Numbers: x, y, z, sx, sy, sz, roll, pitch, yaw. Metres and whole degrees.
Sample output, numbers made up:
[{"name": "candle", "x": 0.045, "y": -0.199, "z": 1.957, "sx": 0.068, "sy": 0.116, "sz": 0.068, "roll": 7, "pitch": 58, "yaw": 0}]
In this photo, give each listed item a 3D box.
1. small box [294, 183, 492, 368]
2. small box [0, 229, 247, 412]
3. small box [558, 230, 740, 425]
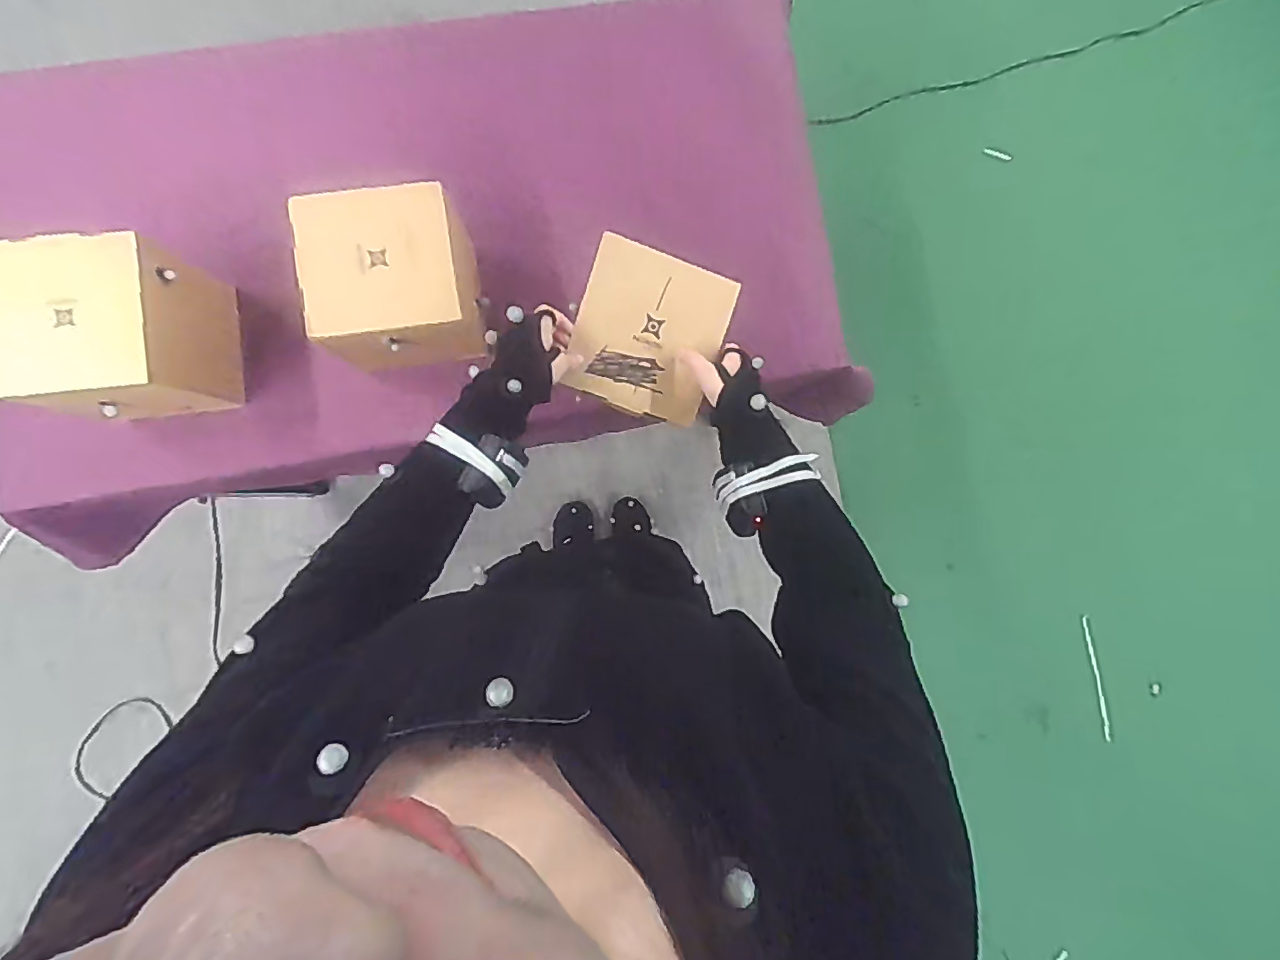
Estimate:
[{"name": "small box", "x": -0.305, "y": -0.251, "z": 0.700, "sx": 0.179, "sy": 0.176, "sz": 0.168, "roll": -8, "pitch": 89, "yaw": -4}, {"name": "small box", "x": -0.631, "y": -0.184, "z": 0.679, "sx": 0.168, "sy": 0.176, "sz": 0.179, "roll": -6, "pitch": 87, "yaw": -4}, {"name": "small box", "x": 0.003, "y": -0.178, "z": 0.687, "sx": 0.168, "sy": 0.176, "sz": 0.179, "roll": 18, "pitch": 95, "yaw": -9}]
